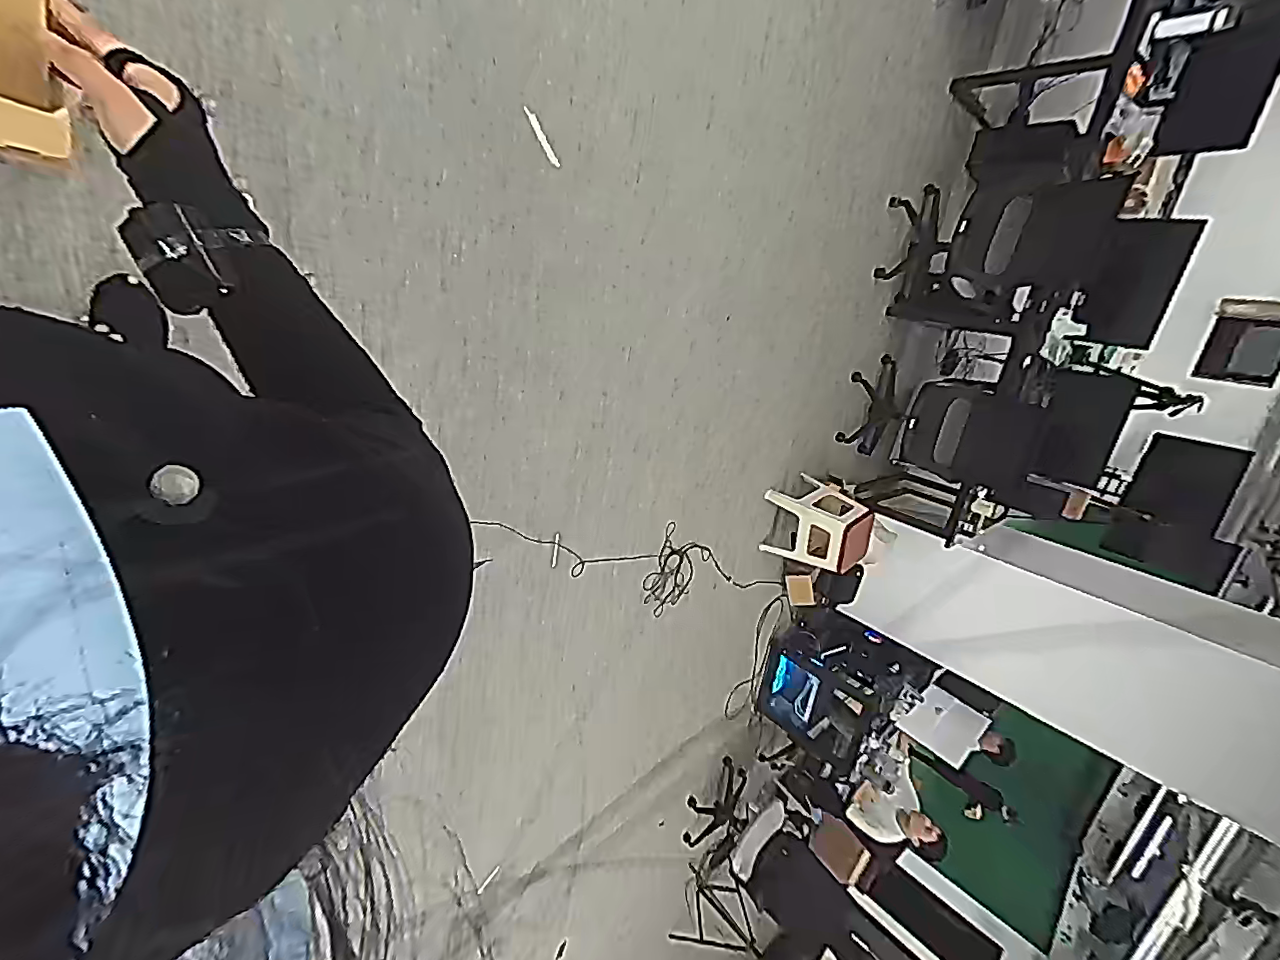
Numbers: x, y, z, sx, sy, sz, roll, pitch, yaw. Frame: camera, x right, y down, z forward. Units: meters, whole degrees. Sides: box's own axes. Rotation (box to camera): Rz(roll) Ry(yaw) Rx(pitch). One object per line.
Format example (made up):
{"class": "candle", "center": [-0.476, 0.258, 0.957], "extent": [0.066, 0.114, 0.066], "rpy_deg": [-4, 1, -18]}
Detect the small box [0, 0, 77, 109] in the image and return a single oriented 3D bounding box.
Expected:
{"class": "small box", "center": [-0.492, -0.383, 0.351], "extent": [0.168, 0.176, 0.179], "rpy_deg": [3, 120, -43]}

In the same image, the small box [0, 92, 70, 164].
{"class": "small box", "center": [-0.877, -0.543, 0.712], "extent": [0.168, 0.176, 0.179], "rpy_deg": [-2, 111, -44]}
